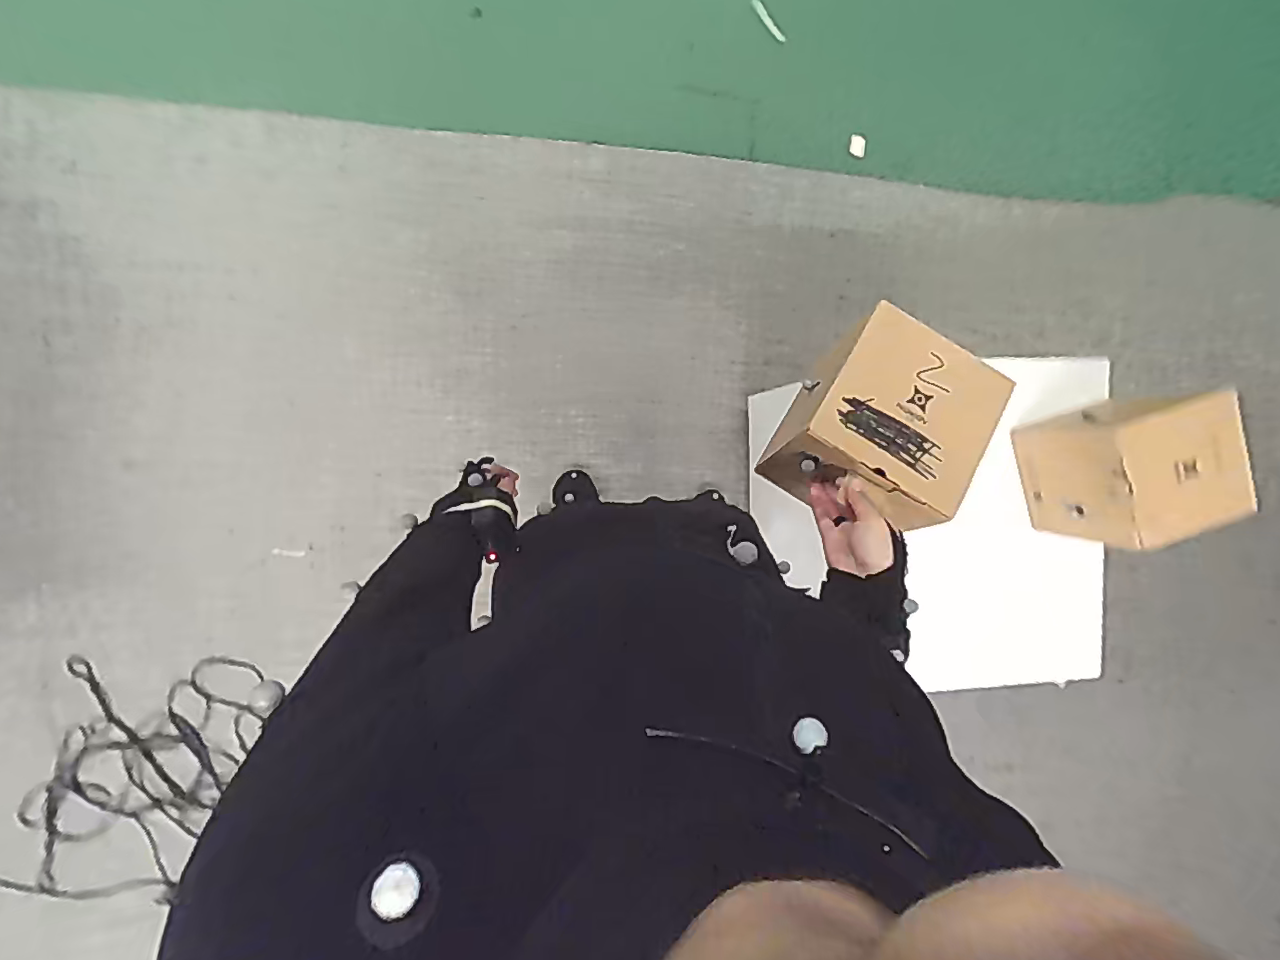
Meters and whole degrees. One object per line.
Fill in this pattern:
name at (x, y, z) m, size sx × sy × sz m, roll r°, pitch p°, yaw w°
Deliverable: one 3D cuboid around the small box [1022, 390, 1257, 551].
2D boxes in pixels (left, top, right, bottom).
small box at (0.677, -0.016, 0.757) m, size 0.179 × 0.176 × 0.168 m, roll -18°, pitch 97°, yaw -6°
